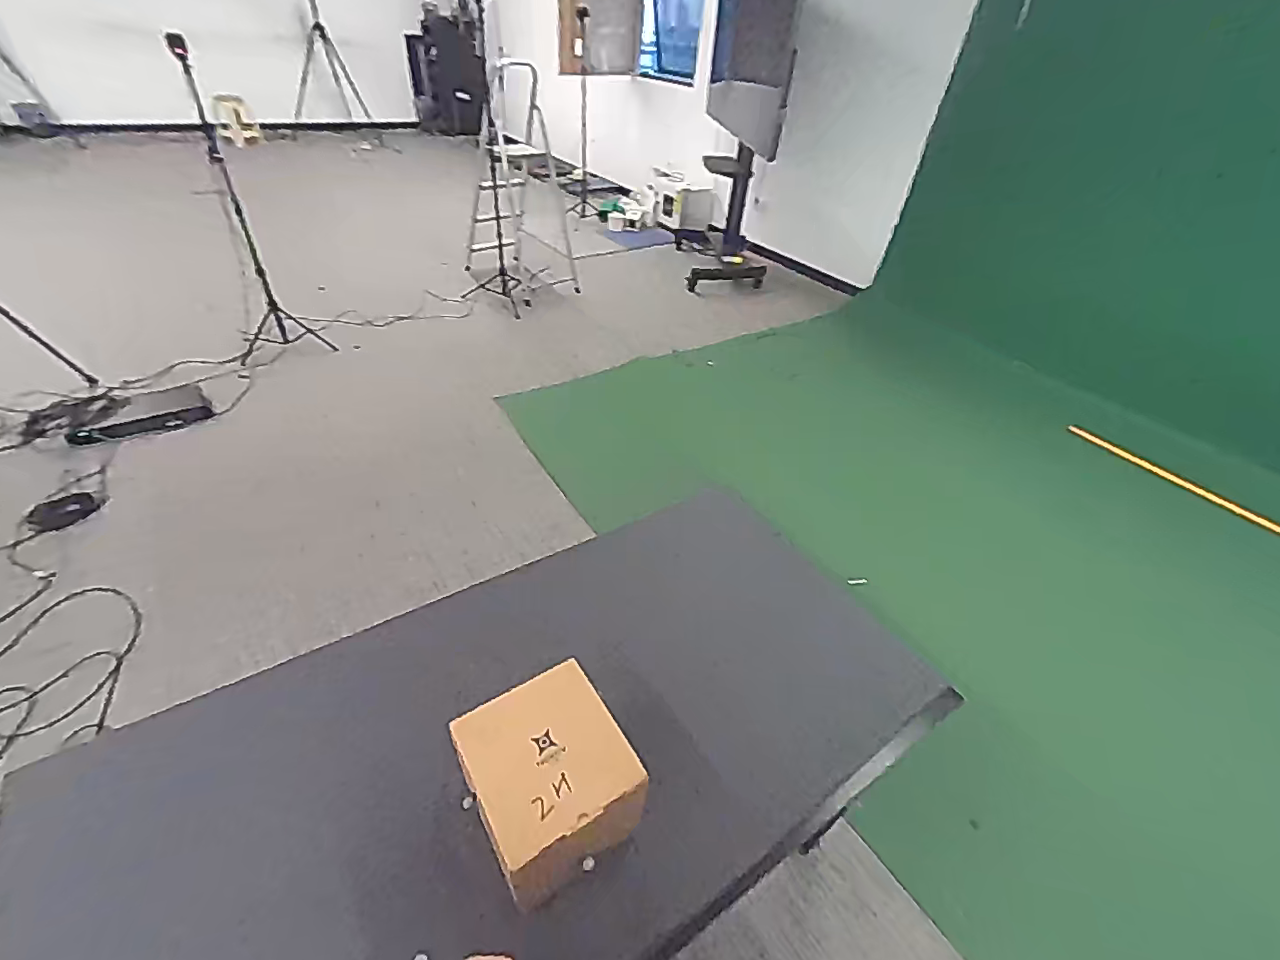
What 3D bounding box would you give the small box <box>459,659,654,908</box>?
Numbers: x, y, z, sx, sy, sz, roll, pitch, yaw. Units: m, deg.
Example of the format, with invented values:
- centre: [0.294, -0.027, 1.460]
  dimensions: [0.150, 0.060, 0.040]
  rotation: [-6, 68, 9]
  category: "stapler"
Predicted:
- centre: [-0.103, 0.363, 0.656]
  dimensions: [0.168, 0.176, 0.179]
  rotation: [-21, 46, -28]
  category: "small box"
